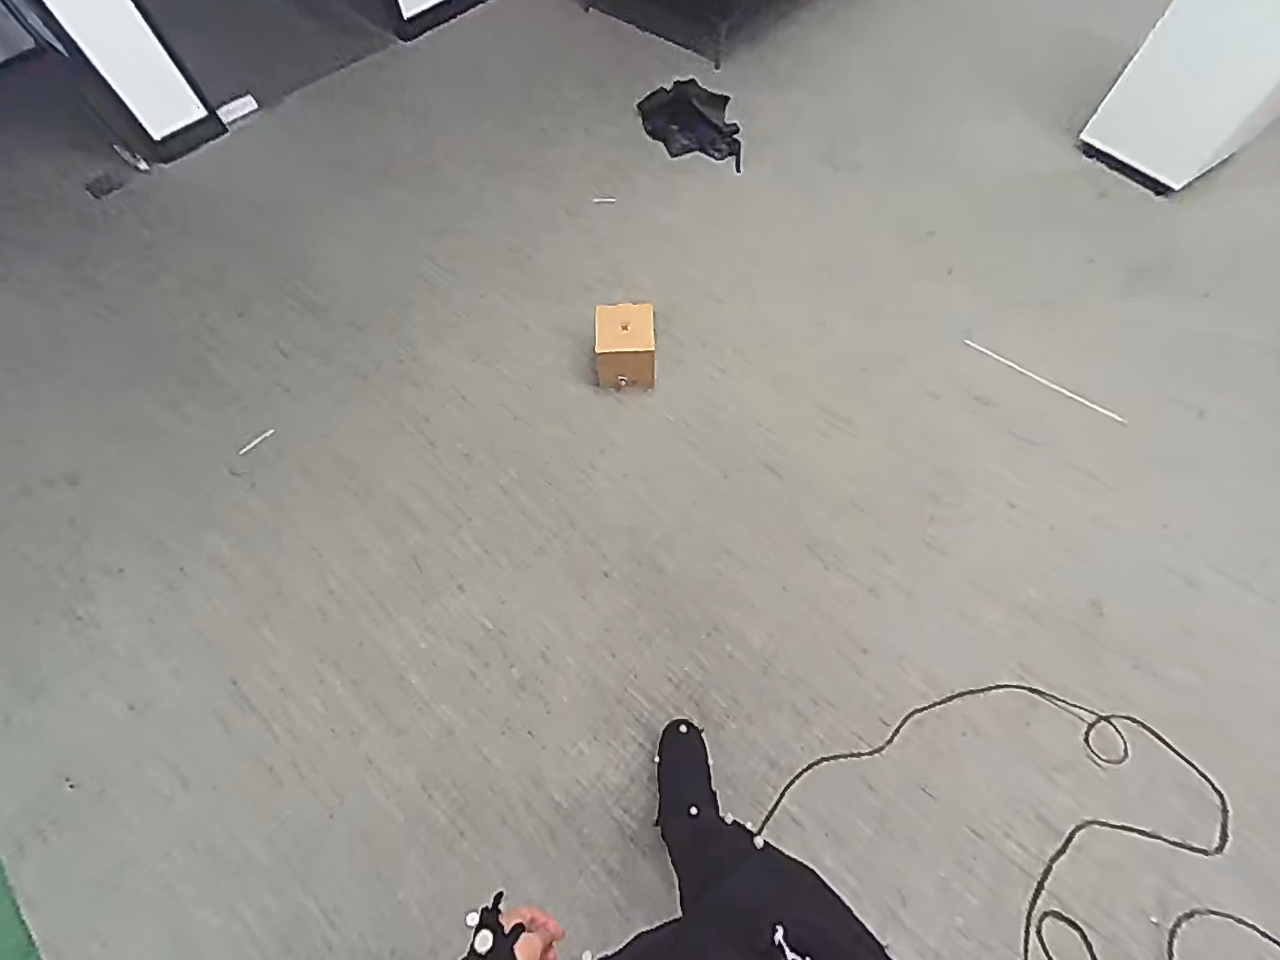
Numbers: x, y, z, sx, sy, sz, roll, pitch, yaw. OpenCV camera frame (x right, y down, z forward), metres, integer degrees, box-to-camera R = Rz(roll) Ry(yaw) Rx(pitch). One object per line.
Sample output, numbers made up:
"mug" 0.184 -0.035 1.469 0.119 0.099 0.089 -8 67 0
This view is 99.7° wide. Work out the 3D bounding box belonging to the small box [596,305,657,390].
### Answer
"small box" -0.037 -0.382 1.570 0.168 0.176 0.179 -3 63 1
